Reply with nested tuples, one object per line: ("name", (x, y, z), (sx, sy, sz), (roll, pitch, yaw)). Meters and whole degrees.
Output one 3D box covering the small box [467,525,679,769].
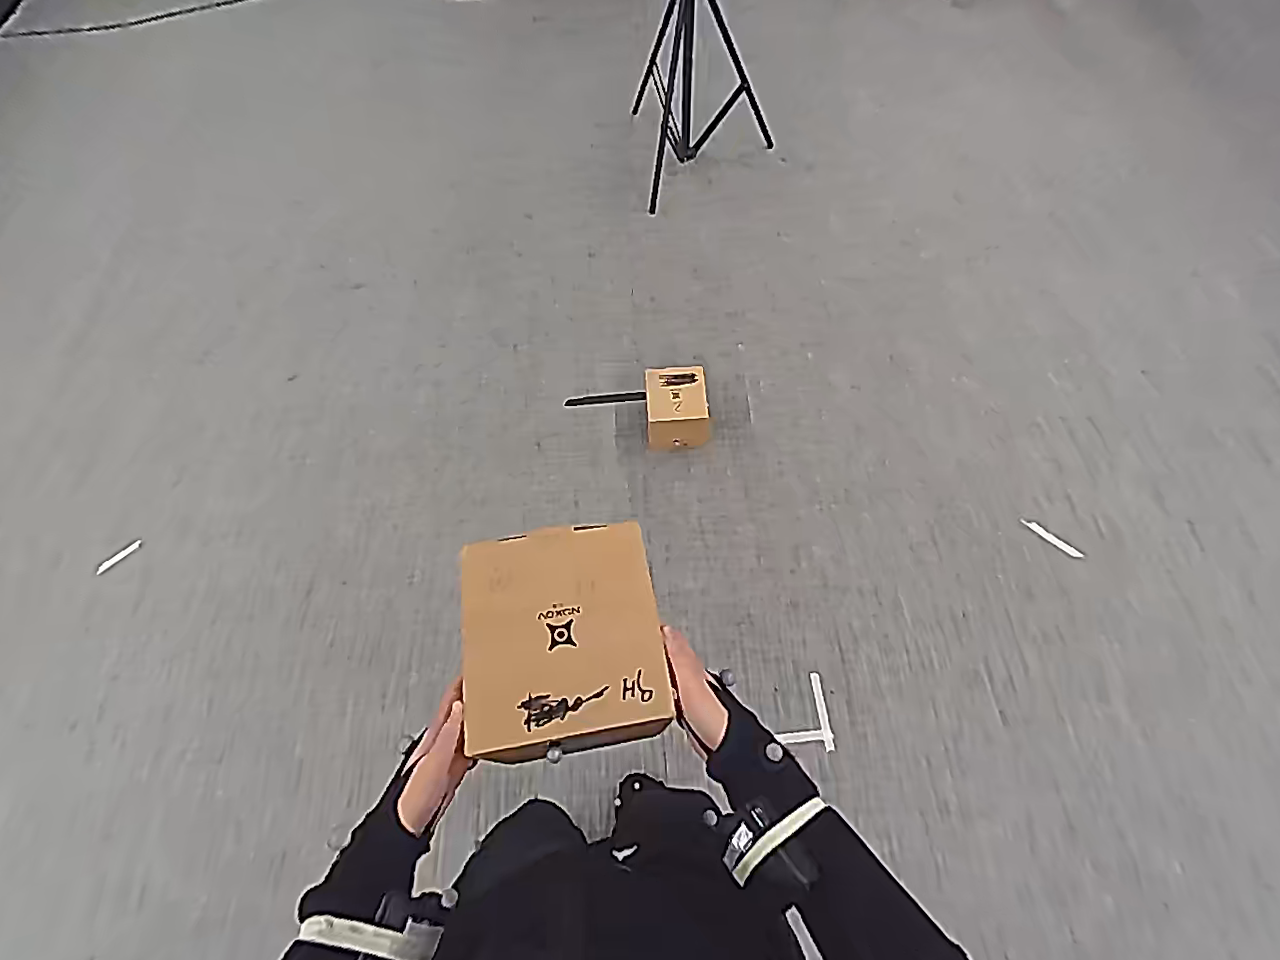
("small box", (-0.067, 0.165, 0.524), (0.168, 0.176, 0.179), (-8, 60, -7))
